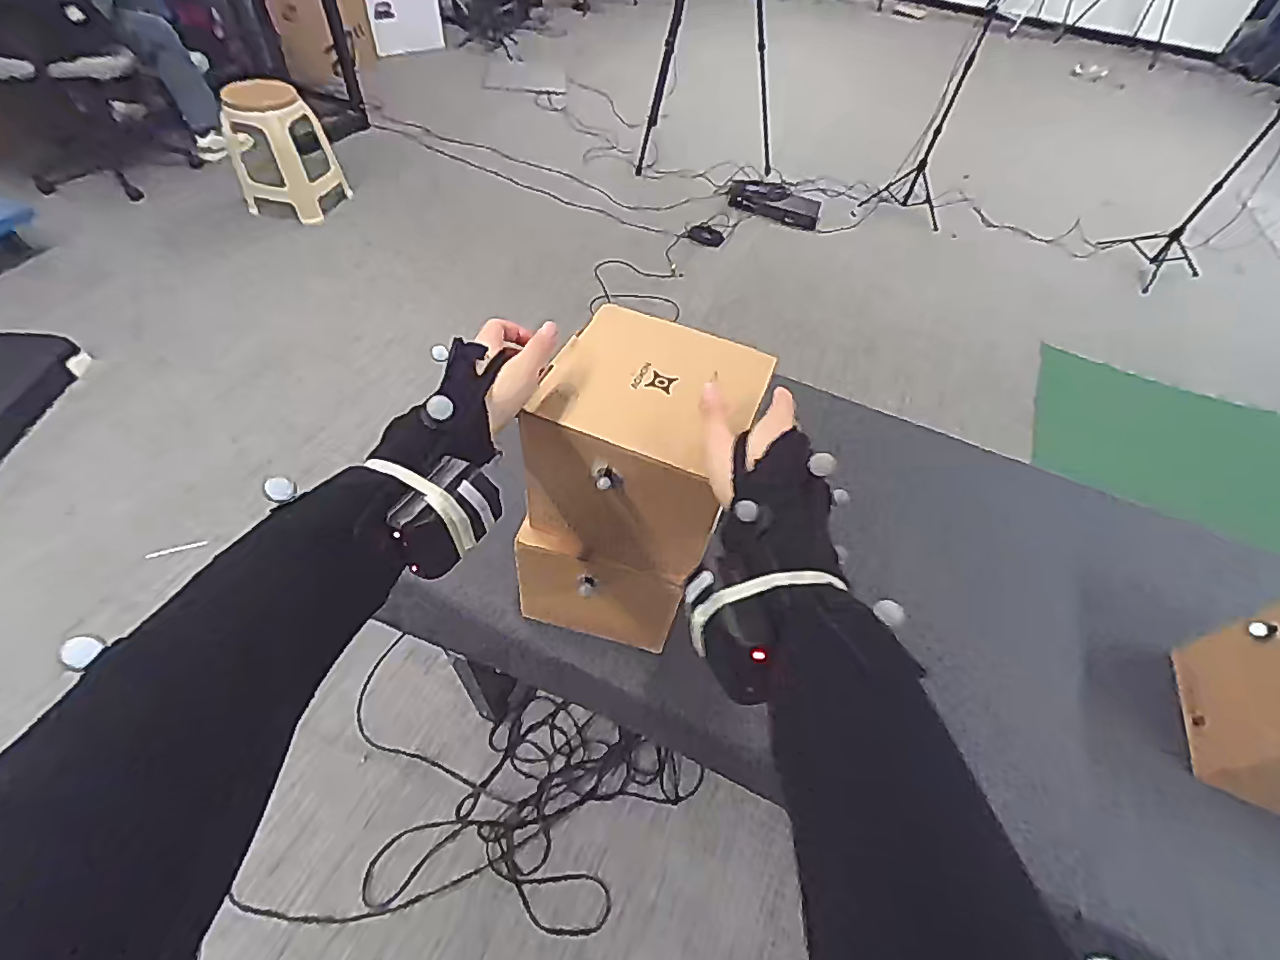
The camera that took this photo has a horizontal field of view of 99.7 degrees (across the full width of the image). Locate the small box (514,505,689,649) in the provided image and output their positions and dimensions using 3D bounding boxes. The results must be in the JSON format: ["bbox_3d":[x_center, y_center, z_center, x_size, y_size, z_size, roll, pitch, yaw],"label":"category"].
[{"bbox_3d":[-0.029,0.077,0.633,0.179,0.176,0.168,14,50,5],"label":"small box"}]

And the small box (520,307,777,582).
[{"bbox_3d":[0.006,-0.029,0.514,0.179,0.176,0.168,21,53,9],"label":"small box"}]
